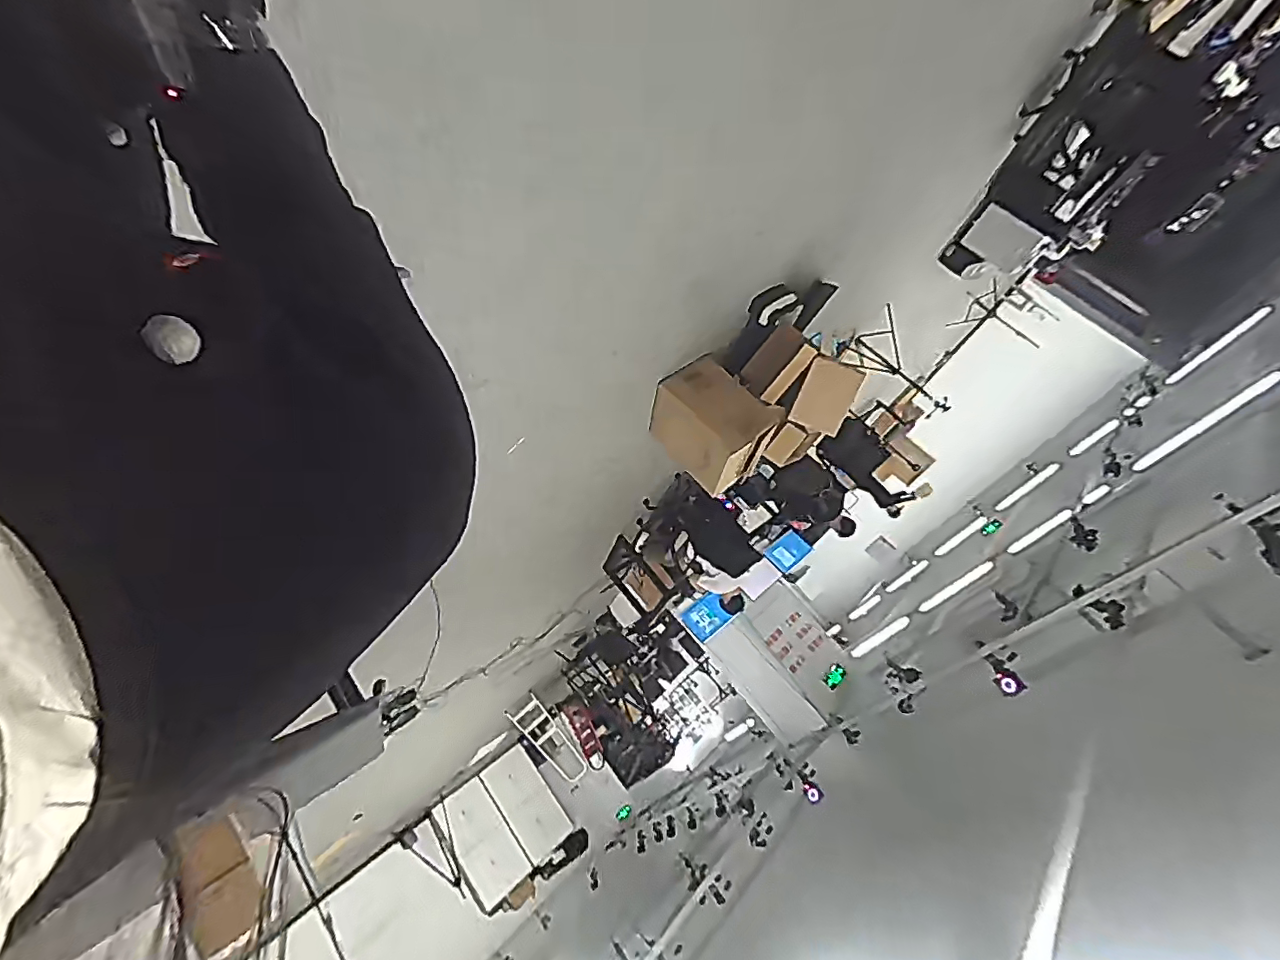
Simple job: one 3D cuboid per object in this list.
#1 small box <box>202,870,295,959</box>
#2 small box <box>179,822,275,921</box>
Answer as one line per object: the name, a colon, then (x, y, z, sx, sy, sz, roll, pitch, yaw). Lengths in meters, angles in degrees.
small box: (-1.142, 1.292, 1.577, 0.179, 0.176, 0.168, -25, 155, -39)
small box: (-1.250, 1.183, 1.635, 0.179, 0.176, 0.168, -30, 158, -37)
